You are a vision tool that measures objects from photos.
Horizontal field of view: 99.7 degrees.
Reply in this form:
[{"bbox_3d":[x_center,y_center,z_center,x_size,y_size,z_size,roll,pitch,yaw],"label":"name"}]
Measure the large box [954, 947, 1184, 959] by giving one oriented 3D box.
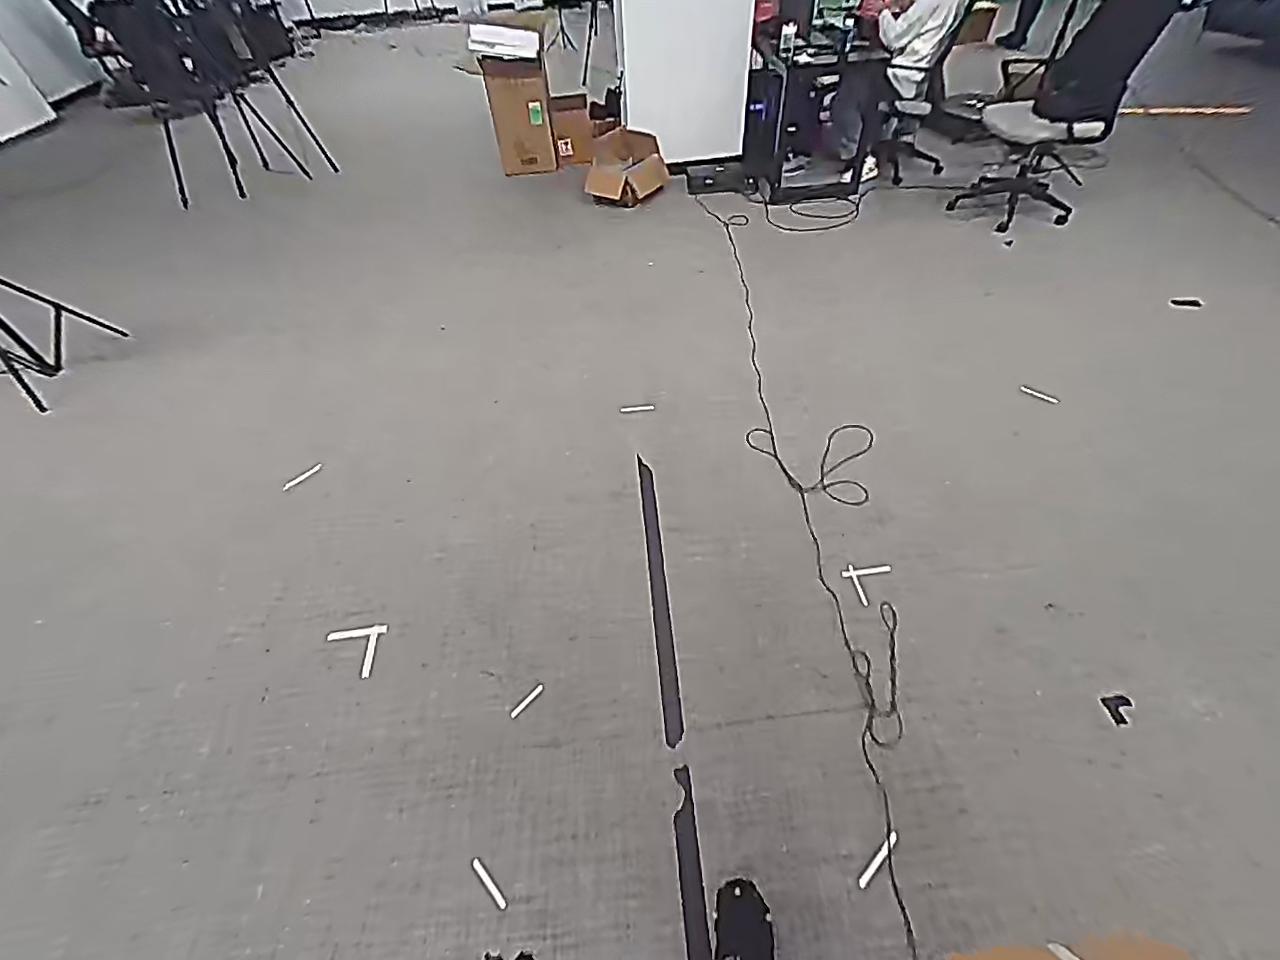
[{"bbox_3d":[0.592,0.759,0.544,0.320,0.408,0.320,-8,70,3],"label":"large box"}]
